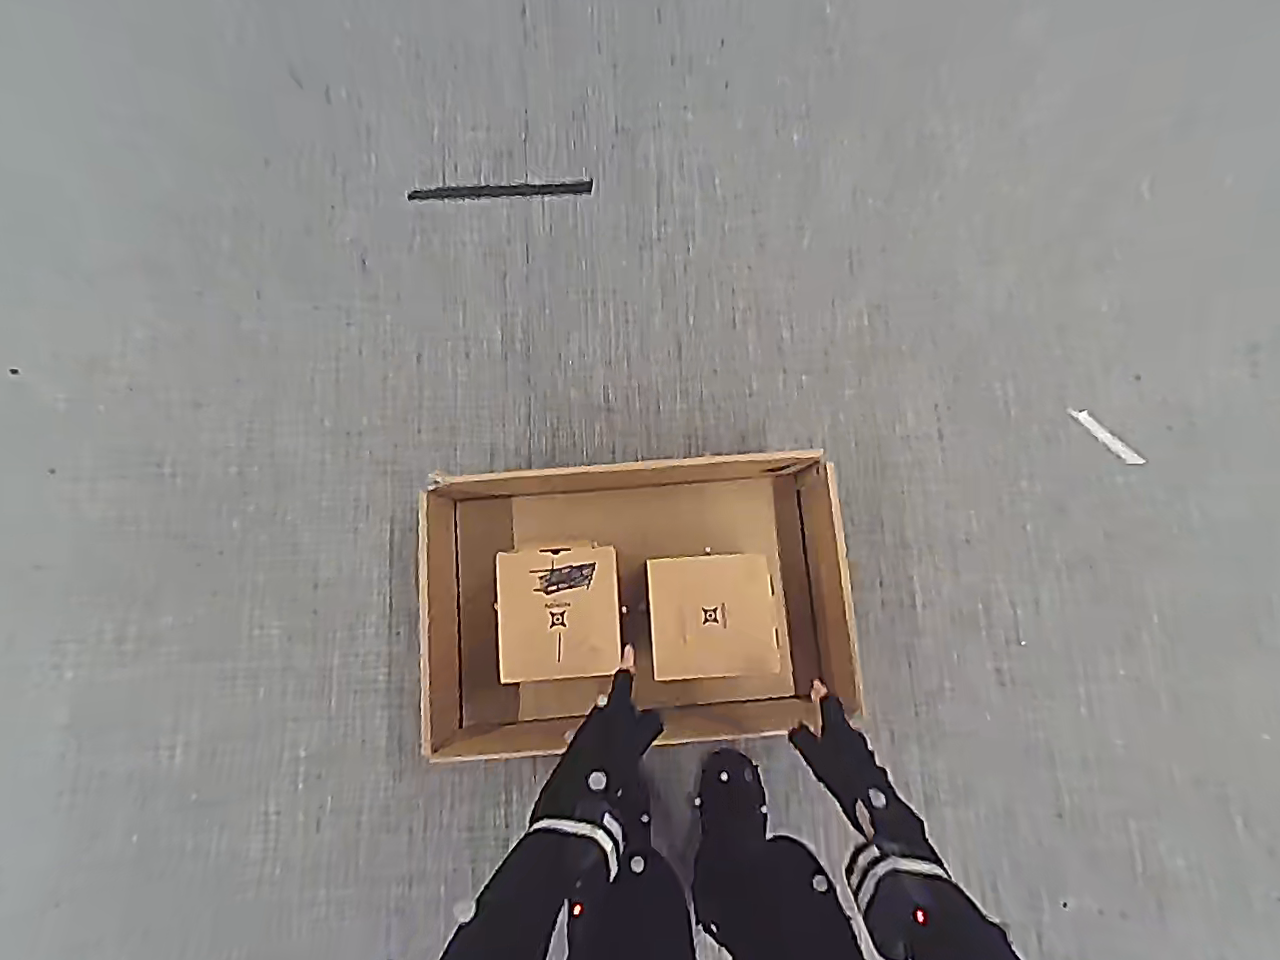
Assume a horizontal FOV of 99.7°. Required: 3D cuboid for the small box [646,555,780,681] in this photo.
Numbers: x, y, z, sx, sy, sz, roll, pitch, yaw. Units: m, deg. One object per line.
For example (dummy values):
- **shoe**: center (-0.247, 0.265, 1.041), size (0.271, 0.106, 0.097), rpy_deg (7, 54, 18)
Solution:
- **small box**: center (0.102, 0.203, 0.830), size (0.179, 0.176, 0.168), rpy_deg (-4, 79, 0)
